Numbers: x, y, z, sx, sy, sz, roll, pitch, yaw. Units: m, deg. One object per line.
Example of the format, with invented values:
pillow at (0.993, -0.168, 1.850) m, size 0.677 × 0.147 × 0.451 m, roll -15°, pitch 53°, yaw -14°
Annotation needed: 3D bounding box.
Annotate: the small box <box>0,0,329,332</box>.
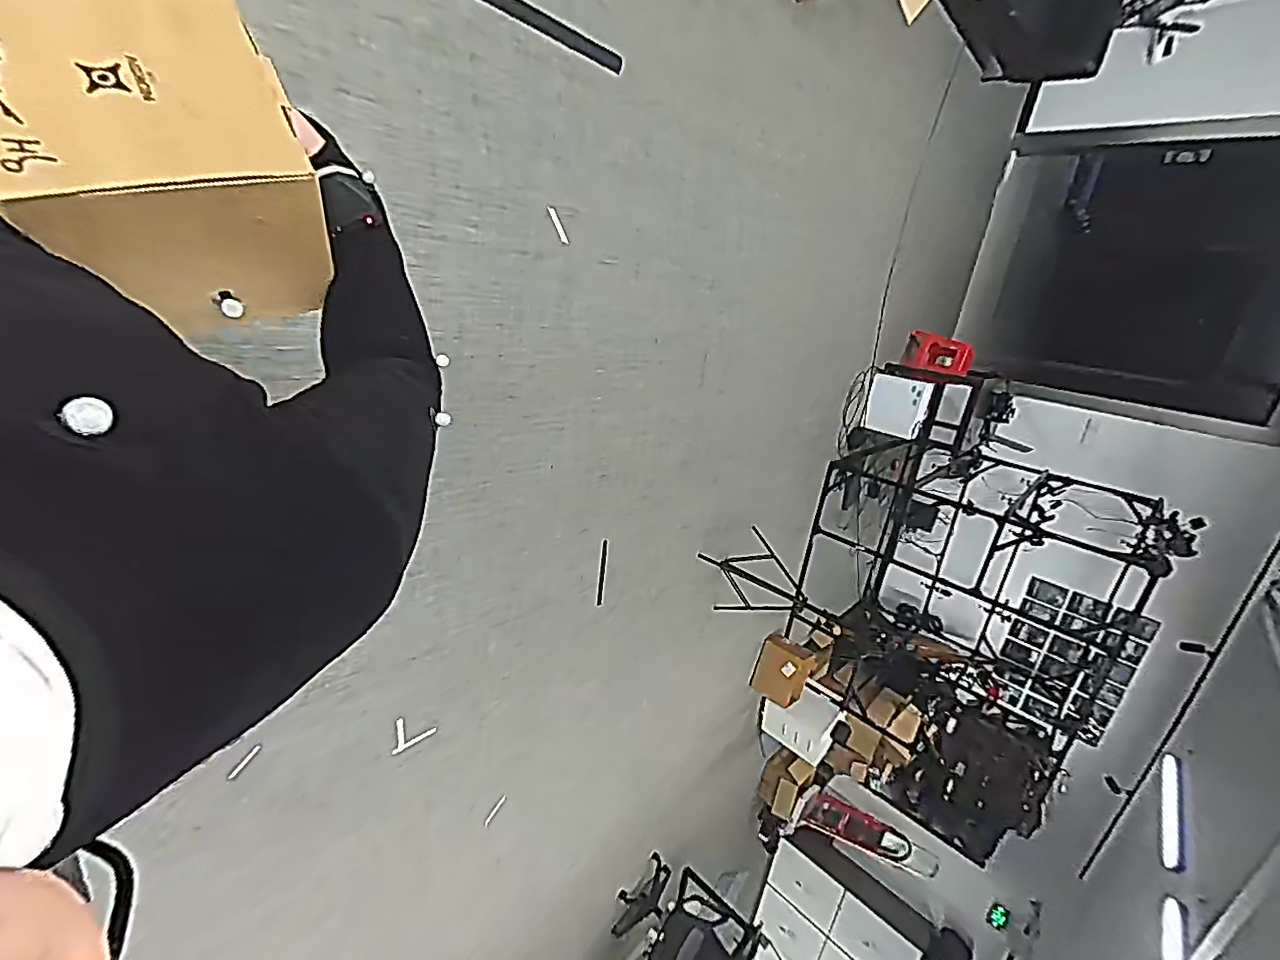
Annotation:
small box at (-0.374, -0.246, 0.438) m, size 0.179 × 0.176 × 0.168 m, roll -24°, pitch 84°, yaw -28°
